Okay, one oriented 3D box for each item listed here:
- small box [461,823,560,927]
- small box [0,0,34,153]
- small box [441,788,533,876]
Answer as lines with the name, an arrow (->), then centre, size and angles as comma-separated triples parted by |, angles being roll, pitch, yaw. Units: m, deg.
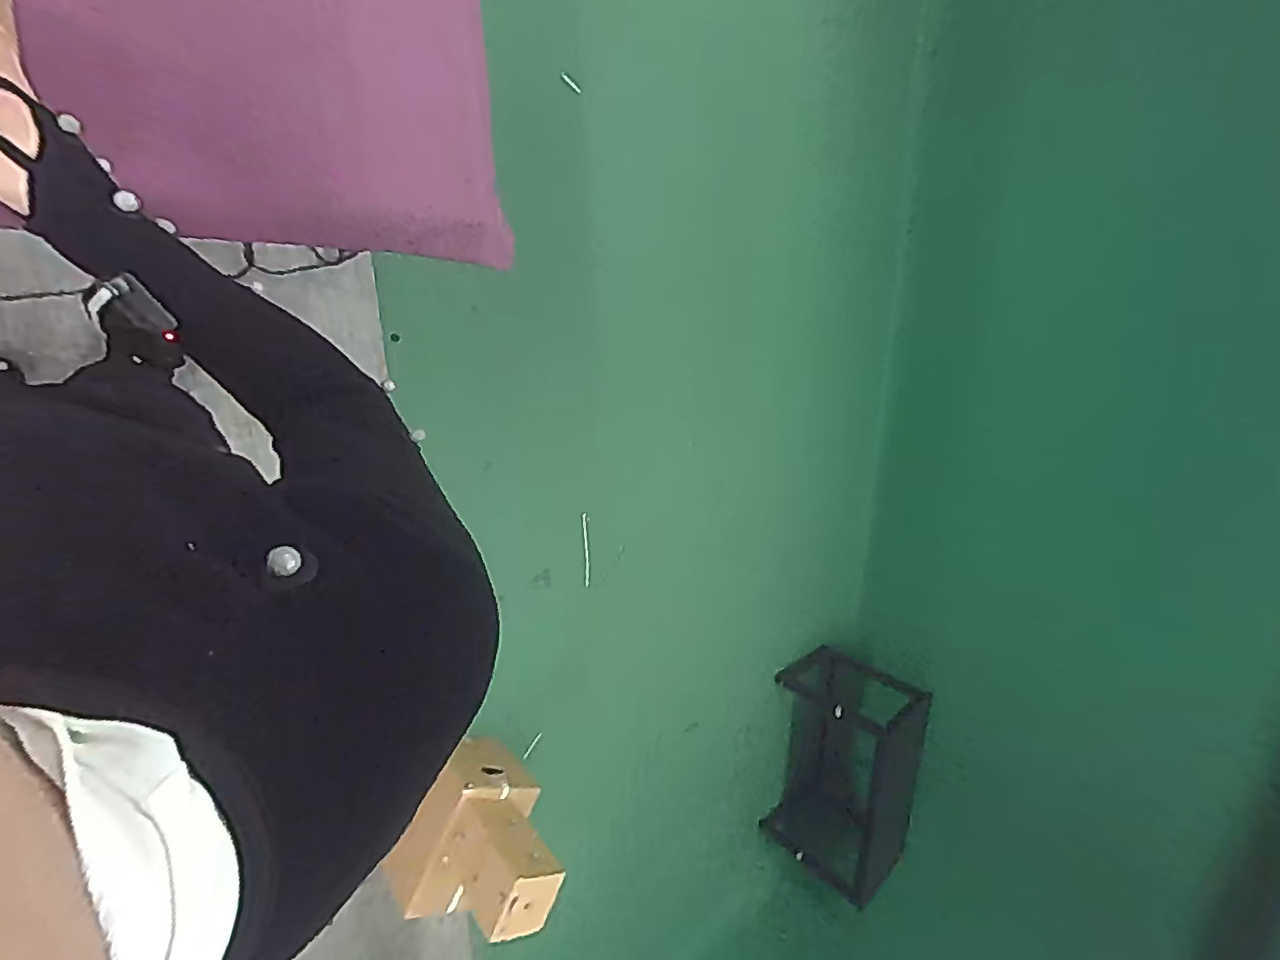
small box -> -0.366, 1.098, 1.522 | 0.179, 0.176, 0.168 | 31, 81, -44
small box -> -0.621, -0.389, 0.423 | 0.168, 0.176, 0.179 | -8, 108, -39
small box -> -0.468, 1.067, 1.647 | 0.179, 0.176, 0.168 | 31, 81, -43
